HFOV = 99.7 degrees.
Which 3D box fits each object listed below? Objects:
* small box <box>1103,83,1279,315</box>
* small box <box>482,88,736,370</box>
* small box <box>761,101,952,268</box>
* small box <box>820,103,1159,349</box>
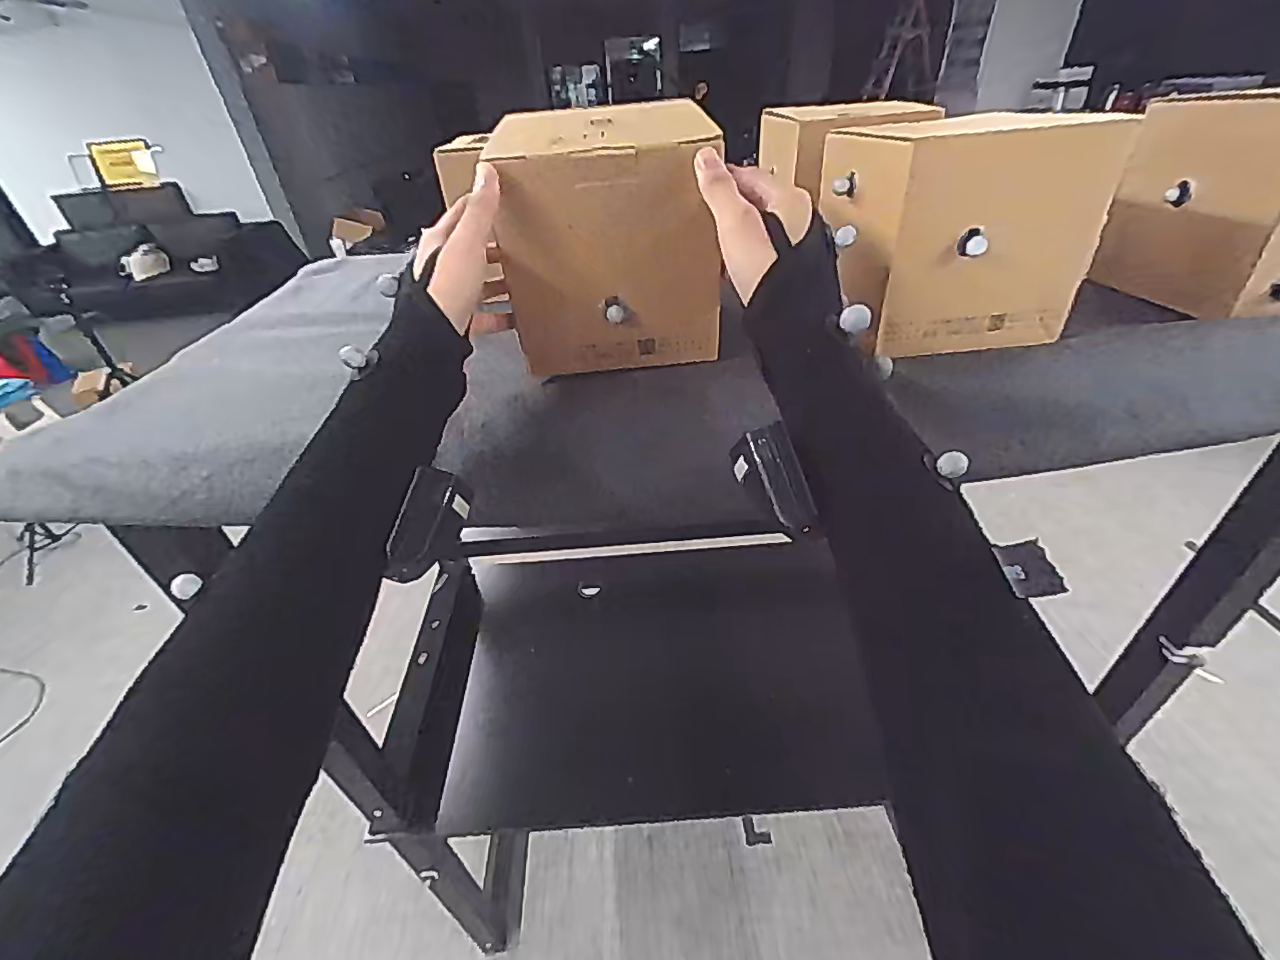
[{"bbox_3d":[0.573,-0.248,0.474,0.168,0.176,0.179,-4,33,2],"label":"small box"},{"bbox_3d":[-0.020,-0.212,0.457,0.168,0.176,0.179,-5,43,0],"label":"small box"},{"bbox_3d":[0.260,-0.384,0.702,0.168,0.176,0.179,-5,36,-1],"label":"small box"},{"bbox_3d":[0.273,-0.221,0.478,0.168,0.176,0.179,-6,34,-1],"label":"small box"}]
